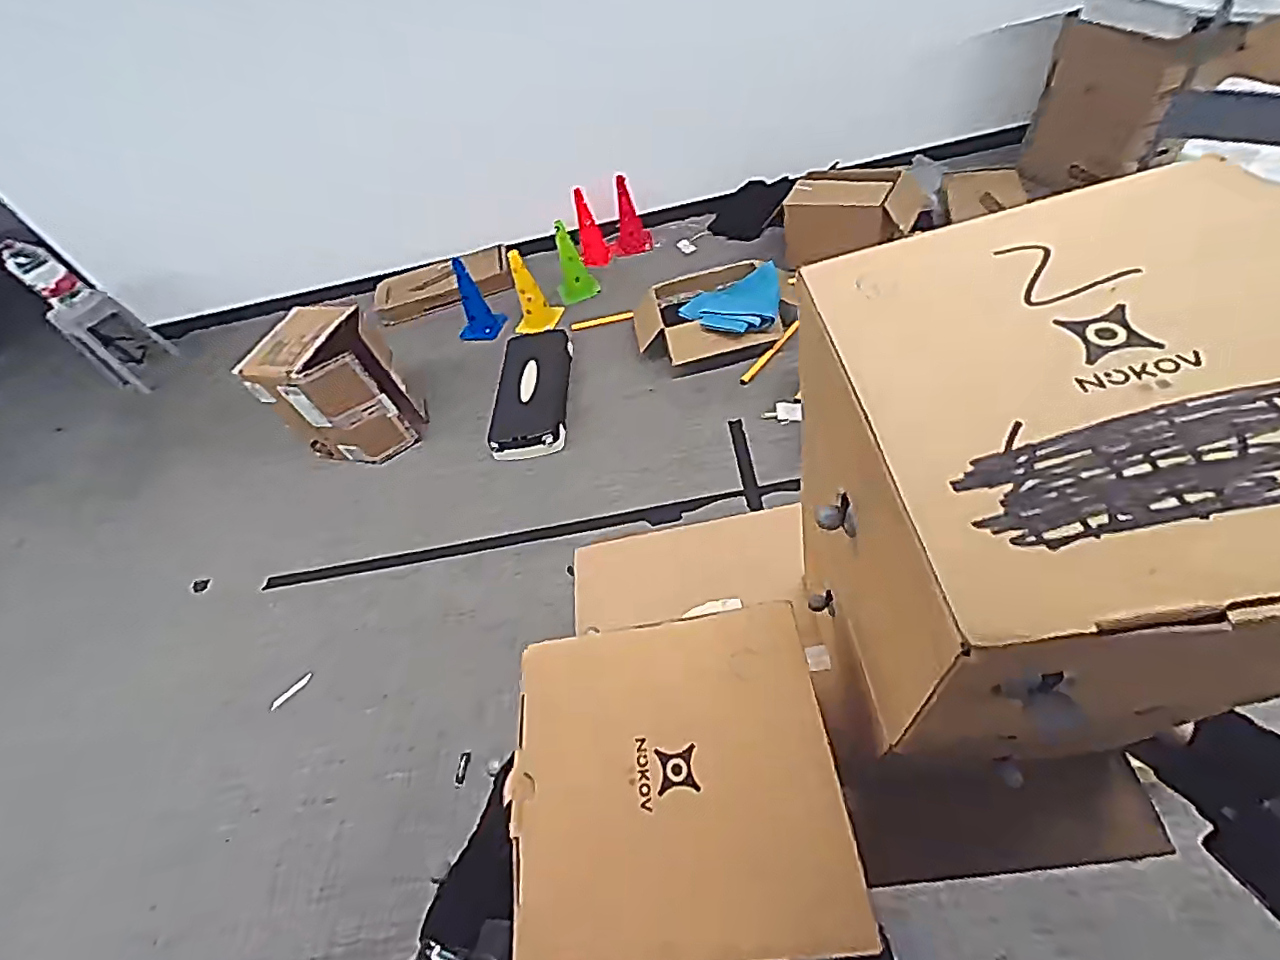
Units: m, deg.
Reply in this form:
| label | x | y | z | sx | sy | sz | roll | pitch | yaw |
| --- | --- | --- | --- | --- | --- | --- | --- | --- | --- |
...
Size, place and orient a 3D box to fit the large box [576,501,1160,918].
| label | x | y | z | sx | sy | sz | roll | pitch | yaw |
| --- | --- | --- | --- | --- | --- | --- | --- | --- | --- |
| large box | 0.178 | 0.238 | 0.587 | 0.408 | 0.320 | 0.320 | -14 | 53 | 8 |

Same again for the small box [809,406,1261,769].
| label | x | y | z | sx | sy | sz | roll | pitch | yaw |
| --- | --- | --- | --- | --- | --- | --- | --- | --- | --- |
| small box | 0.221 | 0.083 | 0.373 | 0.168 | 0.176 | 0.179 | -14 | 54 | 9 |
